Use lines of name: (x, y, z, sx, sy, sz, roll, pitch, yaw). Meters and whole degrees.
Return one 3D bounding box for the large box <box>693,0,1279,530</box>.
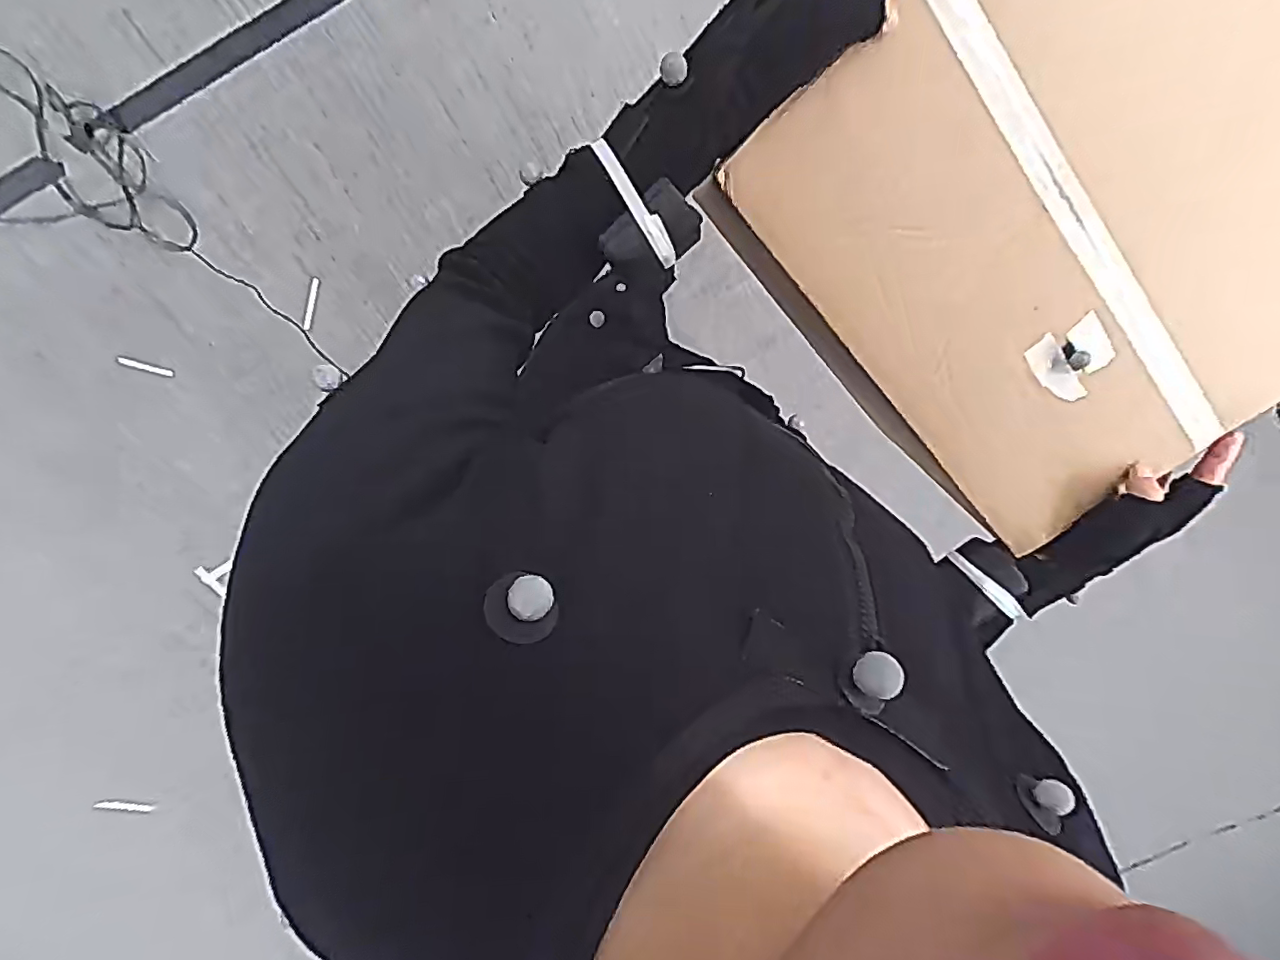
large box: (0.300, -0.240, 0.509, 0.320, 0.320, 0.408, -40, 109, 20)
